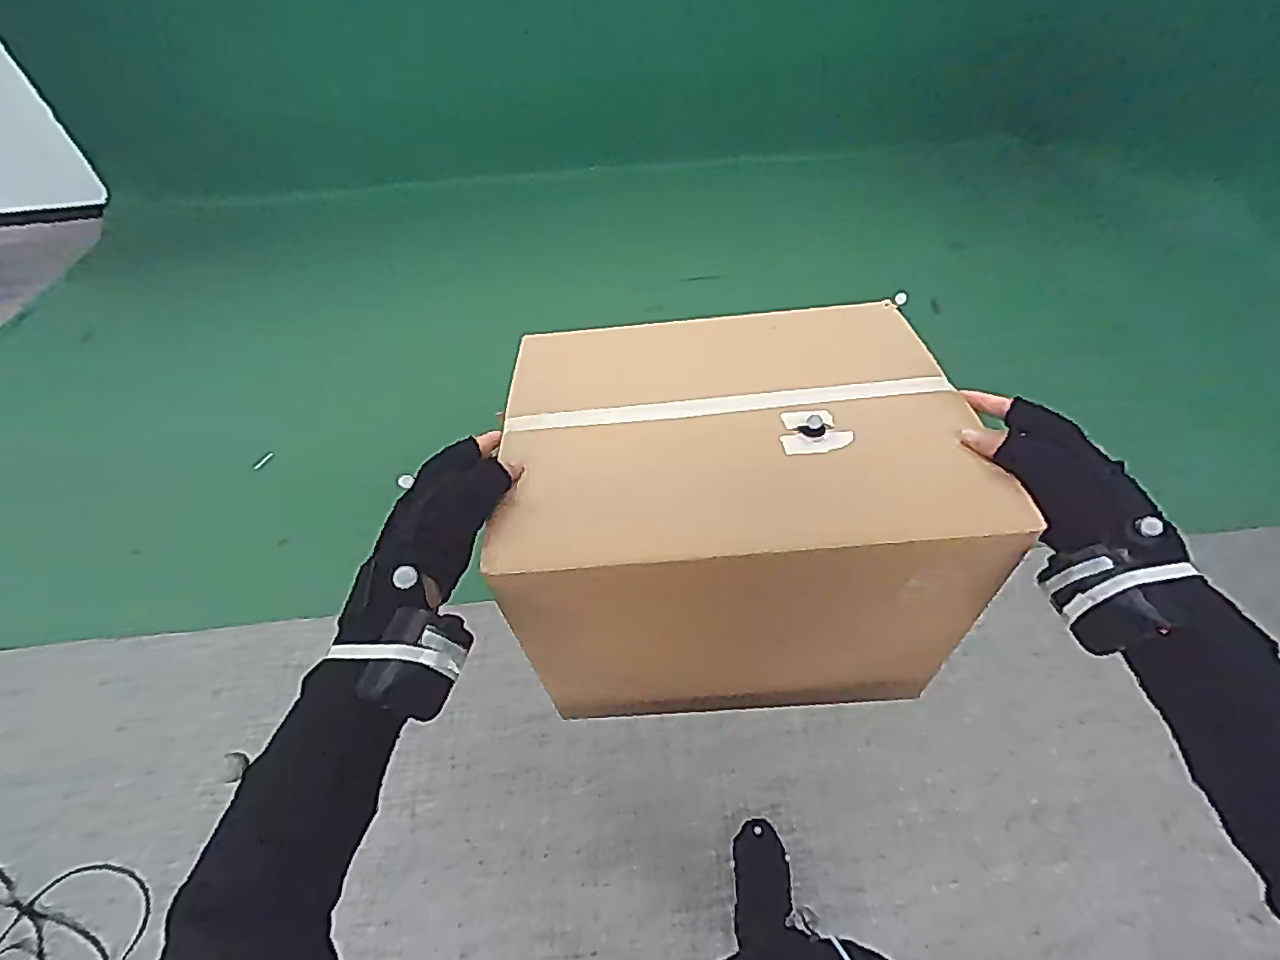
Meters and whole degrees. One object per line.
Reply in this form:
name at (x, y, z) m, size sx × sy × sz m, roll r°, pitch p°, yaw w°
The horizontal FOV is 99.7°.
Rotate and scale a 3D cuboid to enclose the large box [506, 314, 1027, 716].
large box at (0.095, 0.044, 0.613) m, size 0.408 × 0.320 × 0.320 m, roll -5°, pitch 48°, yaw 1°
